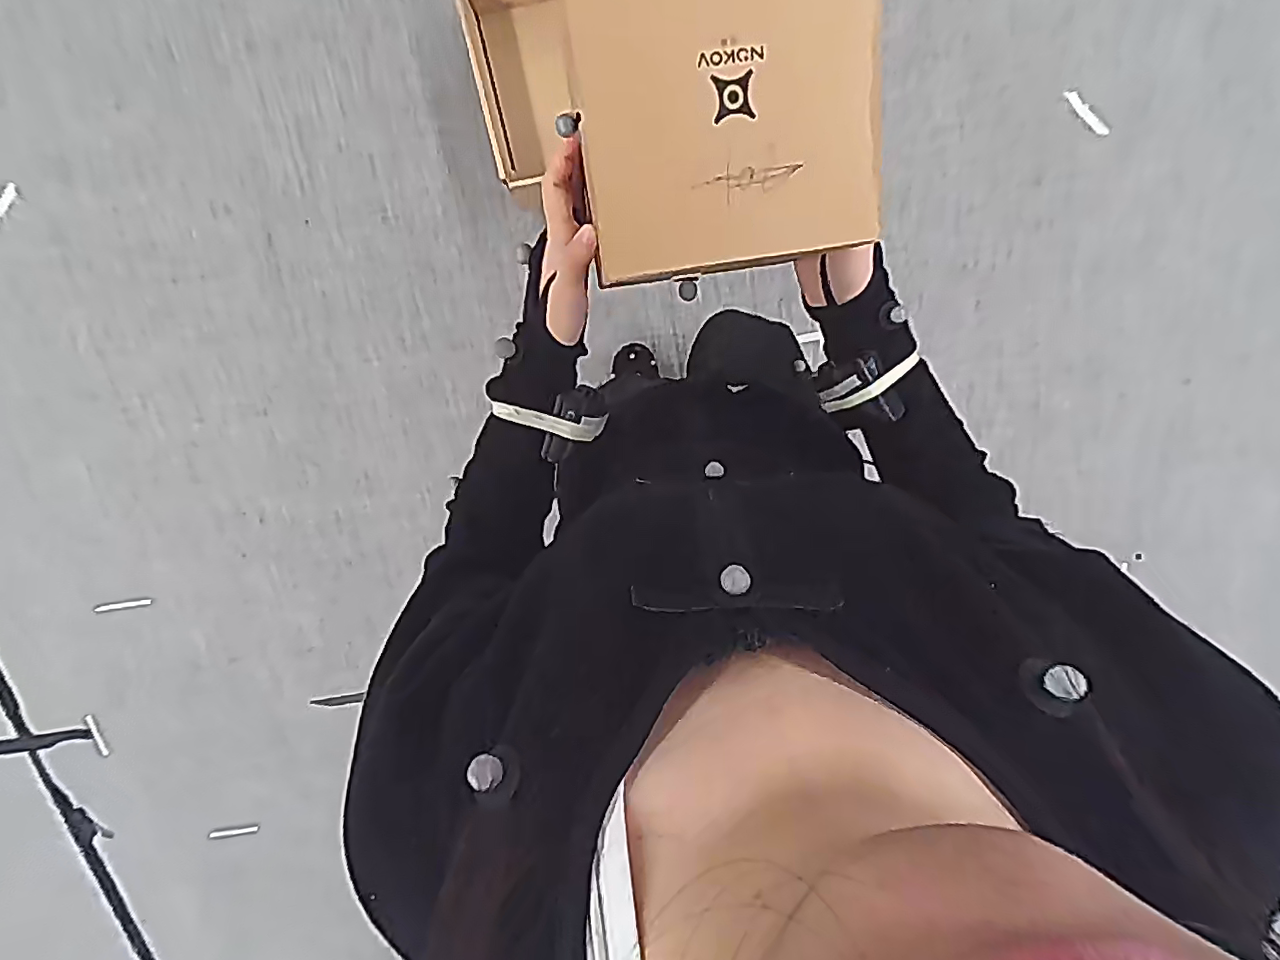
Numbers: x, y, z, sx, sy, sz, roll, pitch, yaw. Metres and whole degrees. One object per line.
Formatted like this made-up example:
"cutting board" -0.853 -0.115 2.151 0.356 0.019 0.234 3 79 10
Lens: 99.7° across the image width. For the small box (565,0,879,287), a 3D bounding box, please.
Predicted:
"small box" 0.042 -0.236 0.369 0.168 0.176 0.179 -9 109 -3
